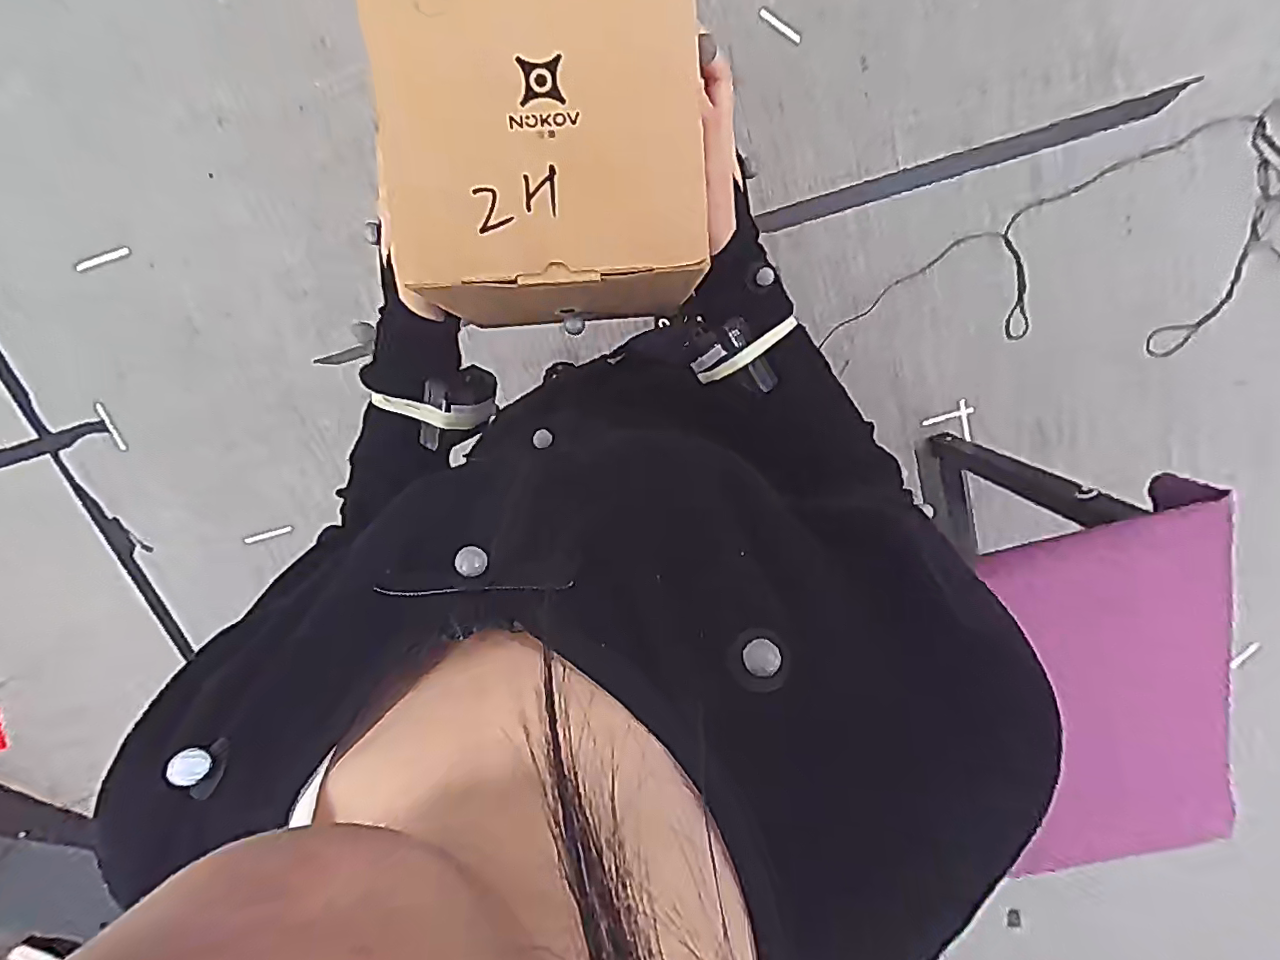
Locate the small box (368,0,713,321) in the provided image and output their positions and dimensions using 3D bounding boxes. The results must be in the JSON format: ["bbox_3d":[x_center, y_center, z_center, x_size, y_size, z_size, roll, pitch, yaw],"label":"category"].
[{"bbox_3d":[-0.053,-0.210,0.351,0.168,0.176,0.179,-5,99,-2],"label":"small box"}]
